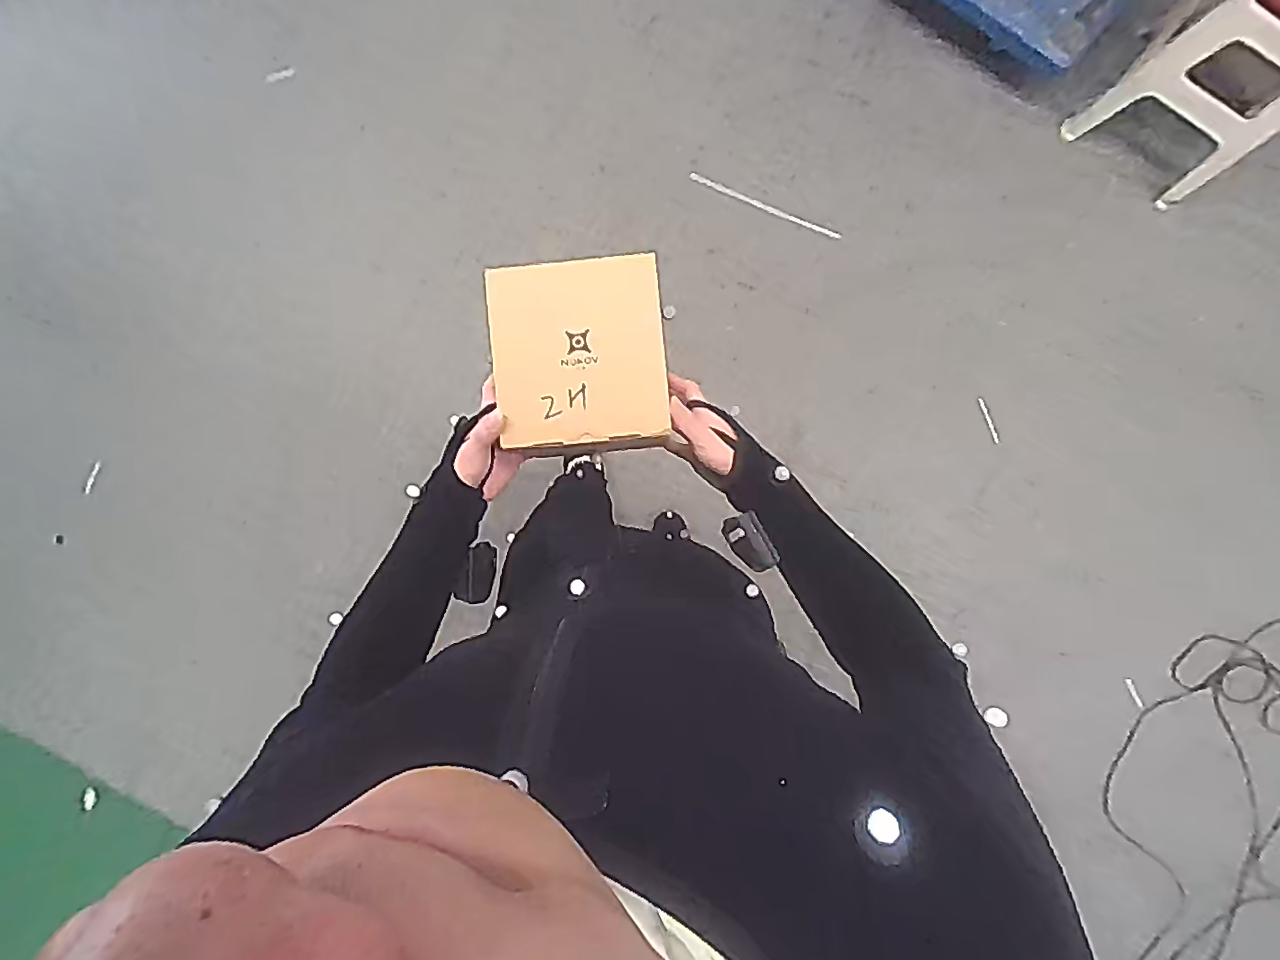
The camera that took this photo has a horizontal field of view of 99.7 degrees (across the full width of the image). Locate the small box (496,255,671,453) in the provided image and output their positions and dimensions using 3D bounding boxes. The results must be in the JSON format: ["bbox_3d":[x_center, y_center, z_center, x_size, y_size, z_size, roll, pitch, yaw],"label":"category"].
[{"bbox_3d":[-0.056,-0.127,0.605,0.168,0.176,0.179,-4,89,1],"label":"small box"}]
